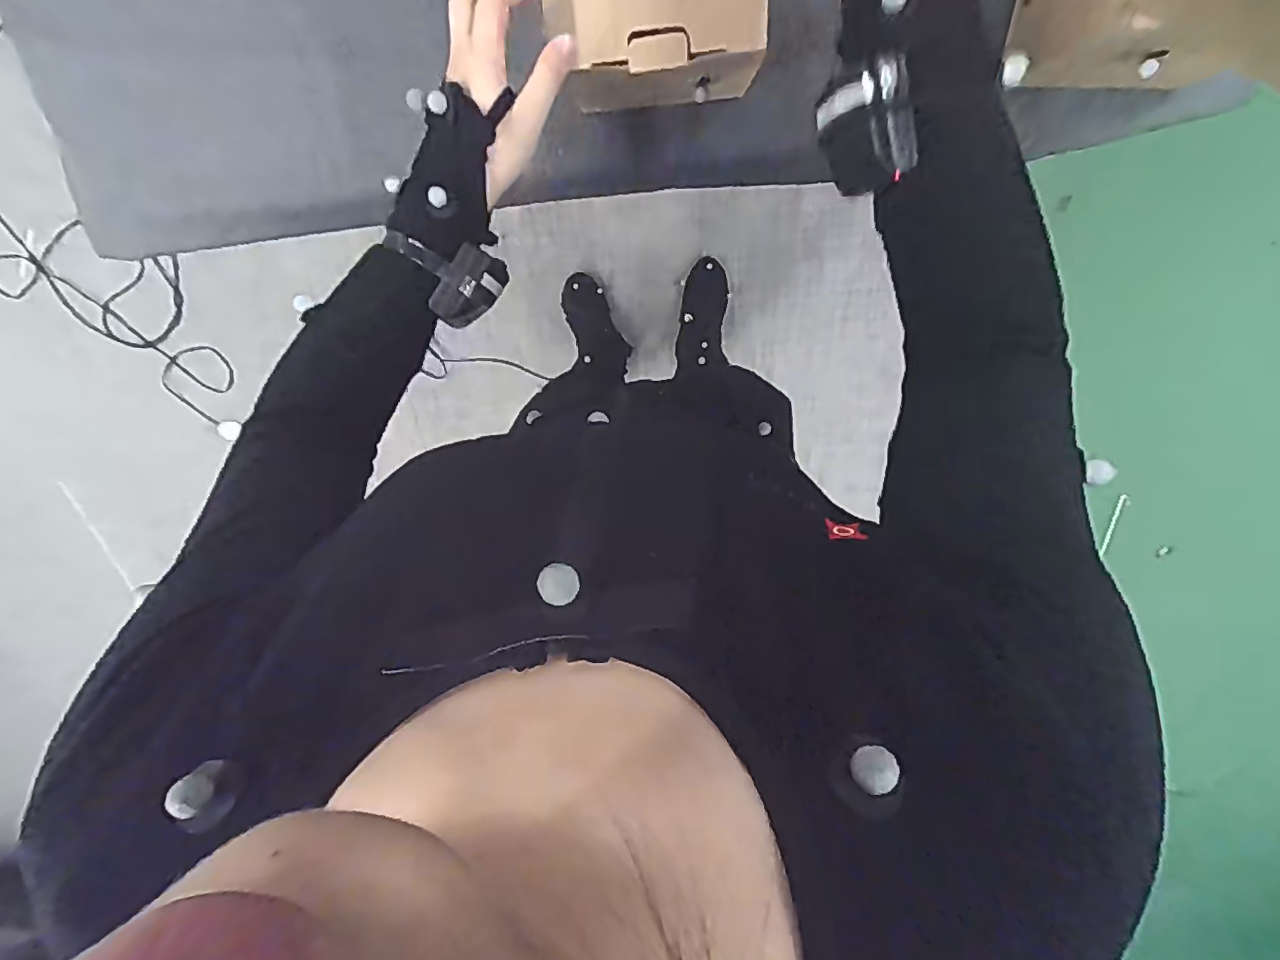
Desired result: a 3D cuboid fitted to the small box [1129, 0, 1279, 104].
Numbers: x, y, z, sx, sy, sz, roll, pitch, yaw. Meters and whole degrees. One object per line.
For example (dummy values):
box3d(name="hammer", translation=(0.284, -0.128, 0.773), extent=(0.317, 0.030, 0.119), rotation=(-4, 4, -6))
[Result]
box3d(name="small box", translation=(0.426, -0.325, 0.274), extent=(0.179, 0.176, 0.168), rotation=(22, 114, -7))

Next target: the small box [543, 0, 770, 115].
box3d(name="small box", translation=(0.014, -0.415, 0.440), extent=(0.168, 0.176, 0.179), rotation=(-3, 115, 4))

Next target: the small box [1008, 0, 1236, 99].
box3d(name="small box", translation=(0.430, -0.409, 0.415), extent=(0.179, 0.176, 0.168), rotation=(3, 115, 3))
